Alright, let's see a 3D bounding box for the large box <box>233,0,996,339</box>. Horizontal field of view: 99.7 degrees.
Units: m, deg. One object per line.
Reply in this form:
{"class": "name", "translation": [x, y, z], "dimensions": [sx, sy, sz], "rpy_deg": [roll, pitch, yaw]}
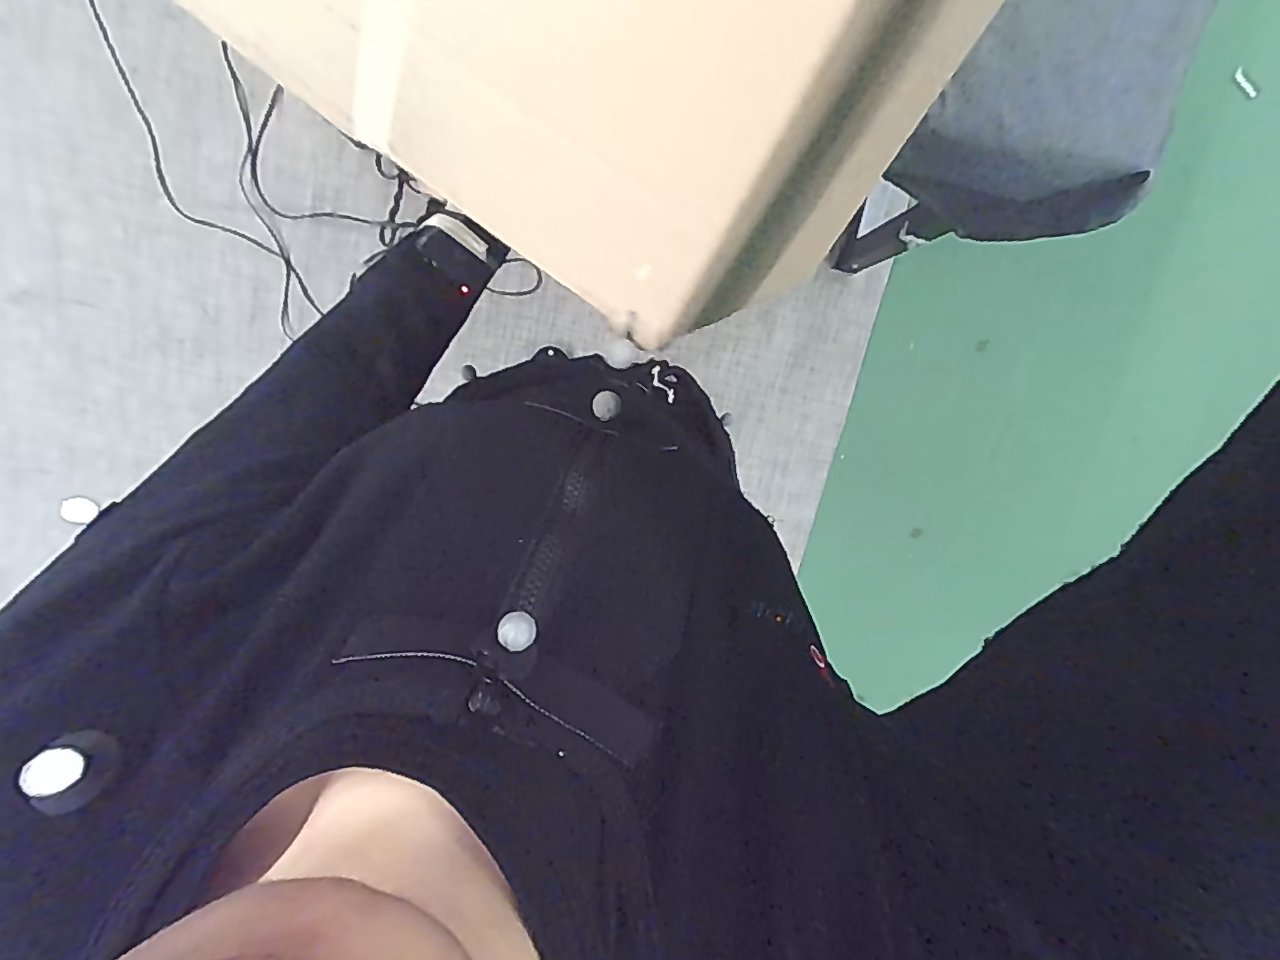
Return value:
{"class": "large box", "translation": [0.055, -0.349, 0.265], "dimensions": [0.320, 0.320, 0.408], "rpy_deg": [37, 126, 9]}
